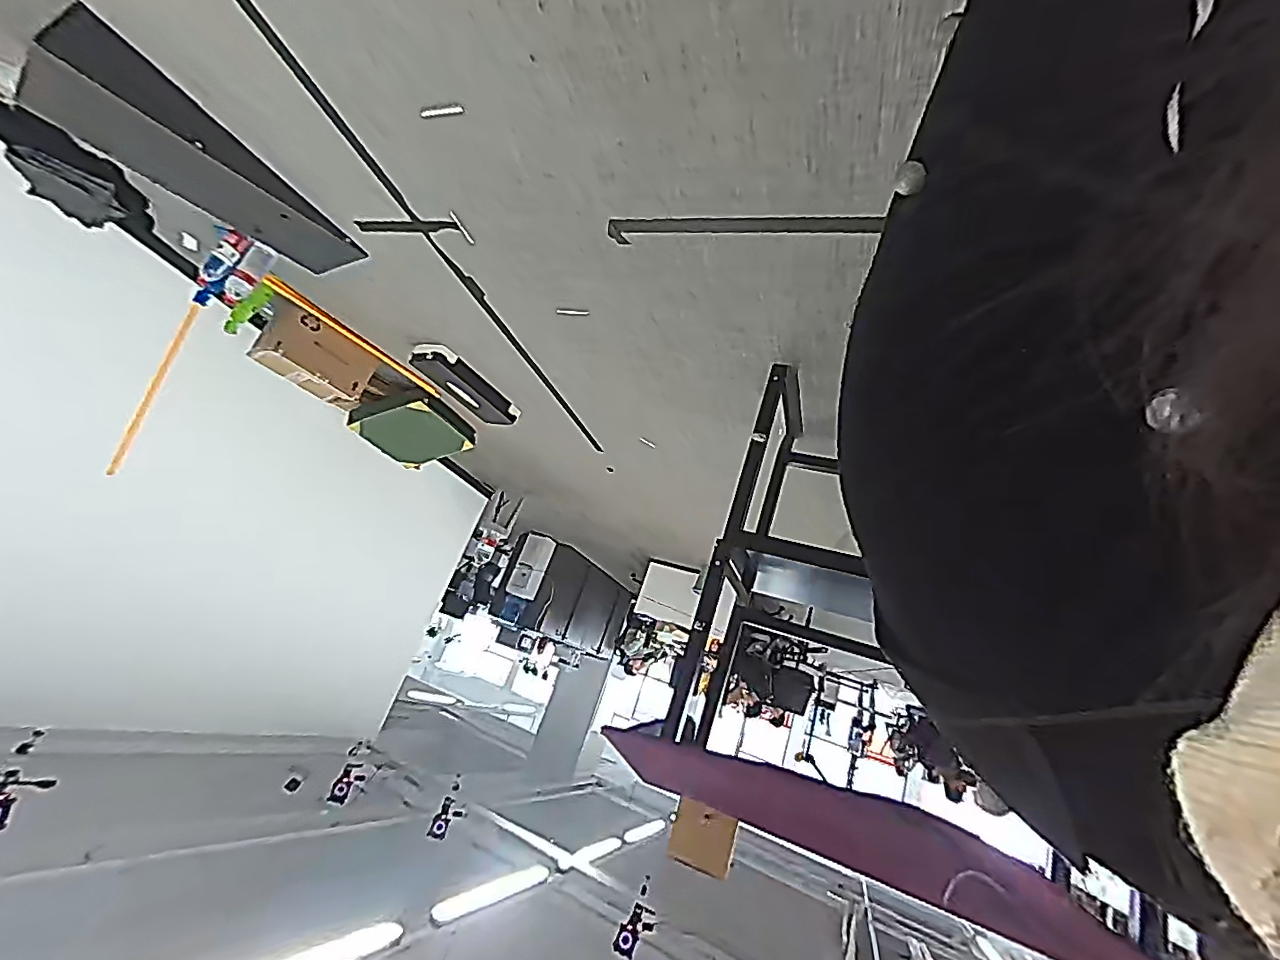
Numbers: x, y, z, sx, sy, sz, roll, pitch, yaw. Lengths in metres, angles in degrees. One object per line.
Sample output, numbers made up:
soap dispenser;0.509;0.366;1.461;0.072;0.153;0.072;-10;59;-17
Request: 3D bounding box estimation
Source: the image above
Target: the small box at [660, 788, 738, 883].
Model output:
small box;0.176;1.018;1.568;0.179;0.176;0.168;14;161;19
